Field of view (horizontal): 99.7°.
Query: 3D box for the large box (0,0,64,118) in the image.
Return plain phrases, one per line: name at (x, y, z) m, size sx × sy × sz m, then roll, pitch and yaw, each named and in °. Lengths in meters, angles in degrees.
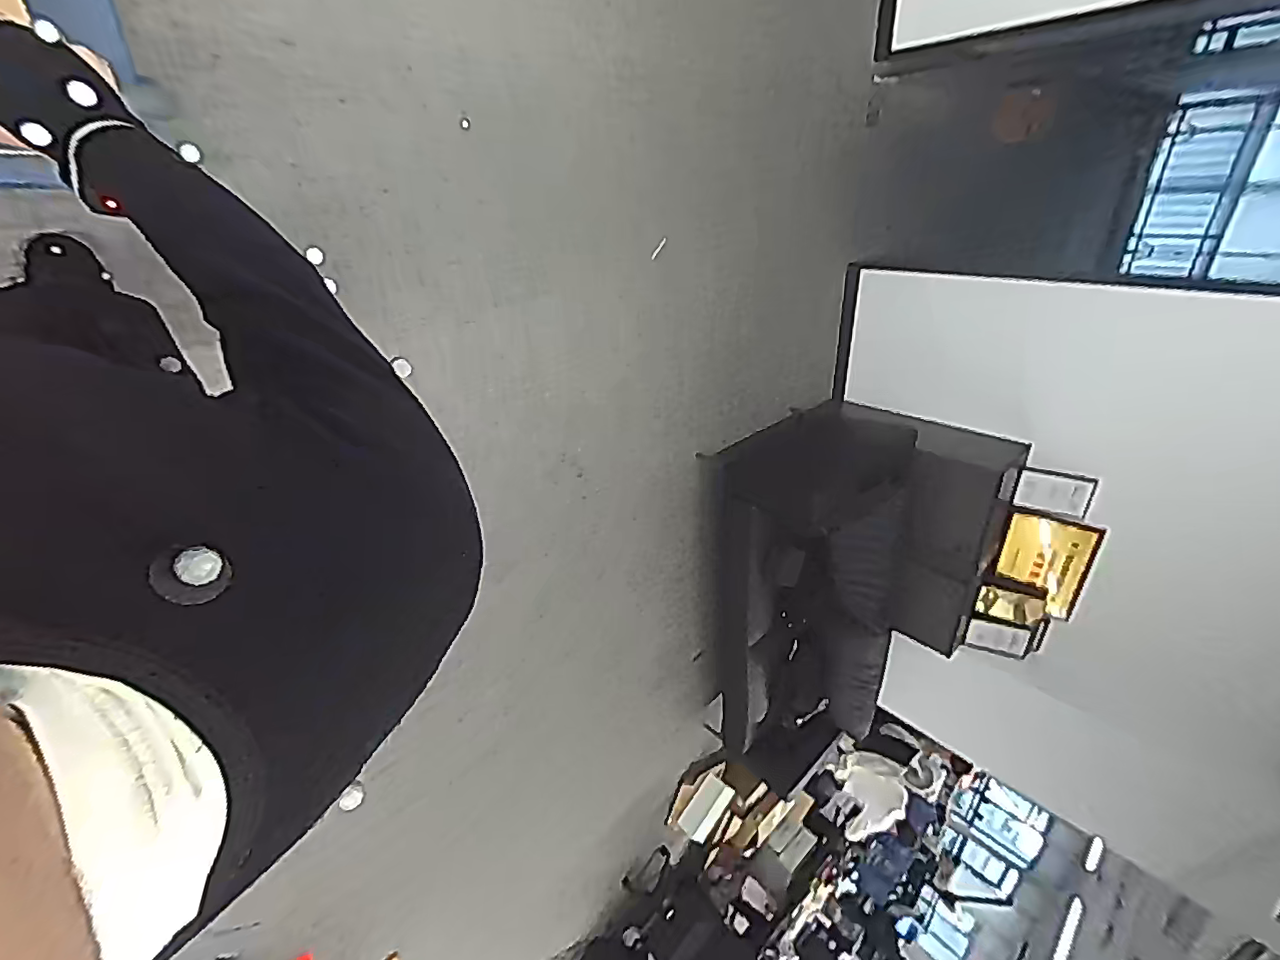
large box at (-0.996, -0.696, 0.643) m, size 0.320 × 0.320 × 0.408 m, roll -23°, pitch 123°, yaw -37°
